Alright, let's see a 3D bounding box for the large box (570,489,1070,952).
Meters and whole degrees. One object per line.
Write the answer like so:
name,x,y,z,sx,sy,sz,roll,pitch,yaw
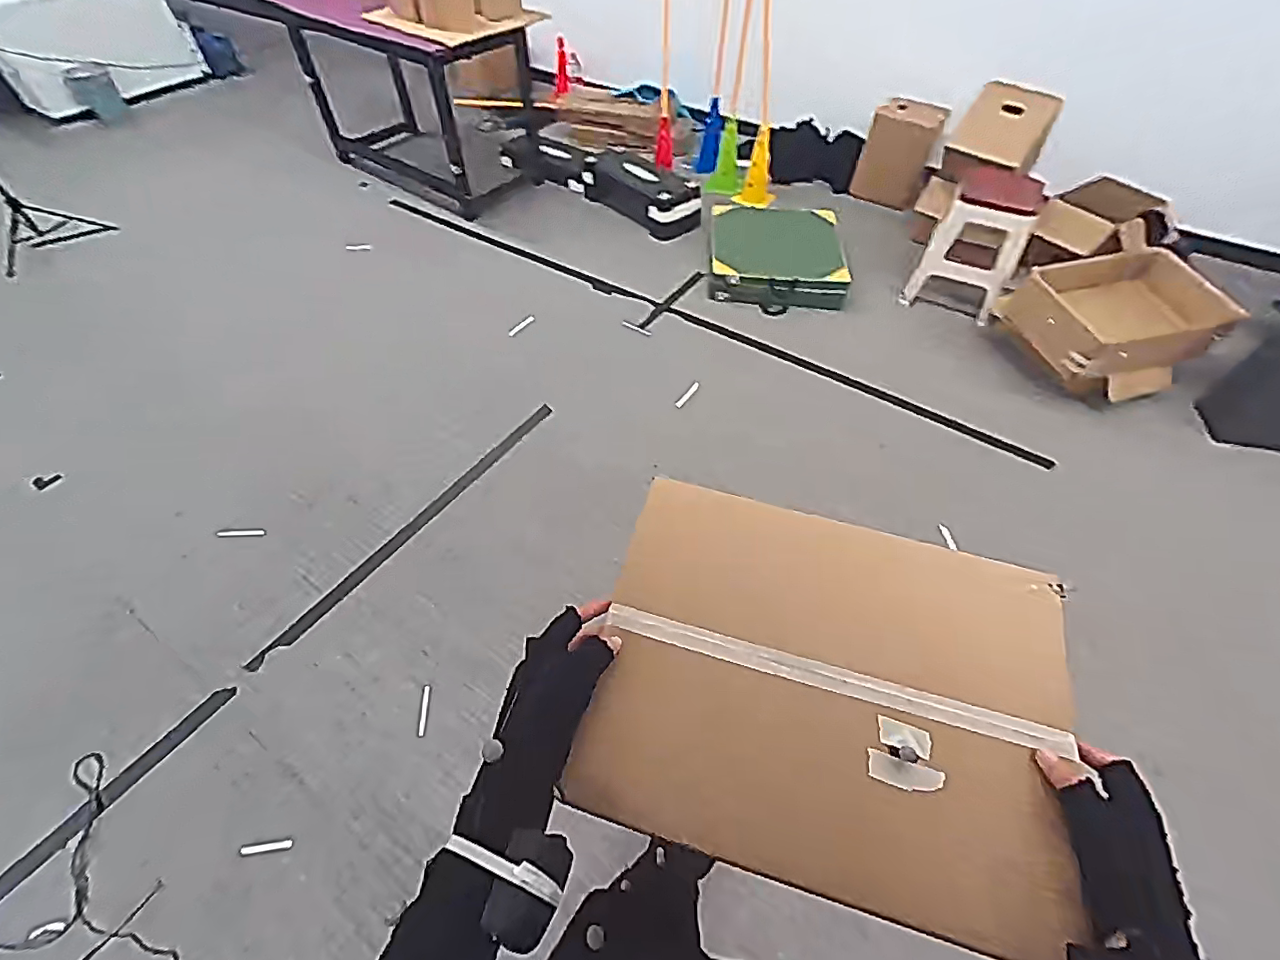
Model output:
large box,0.168,0.253,0.626,0.408,0.320,0.320,14,62,9
